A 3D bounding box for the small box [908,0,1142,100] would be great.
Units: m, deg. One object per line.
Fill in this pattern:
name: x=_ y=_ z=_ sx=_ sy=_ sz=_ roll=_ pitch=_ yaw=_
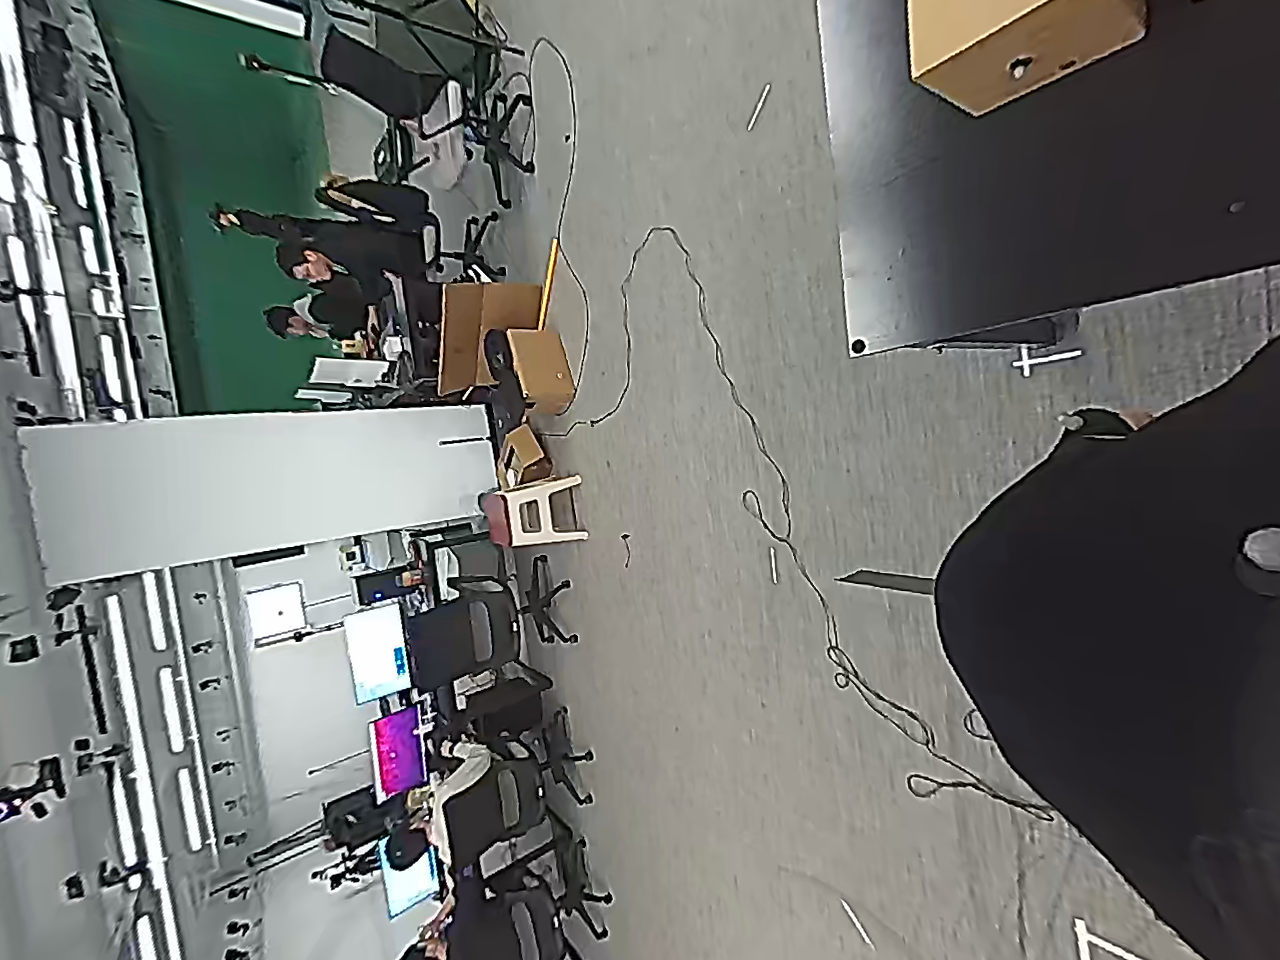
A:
small box: x=0.410 y=-0.546 z=0.578 sx=0.168 sy=0.176 sz=0.179 roll=3 pitch=99 yaw=54
